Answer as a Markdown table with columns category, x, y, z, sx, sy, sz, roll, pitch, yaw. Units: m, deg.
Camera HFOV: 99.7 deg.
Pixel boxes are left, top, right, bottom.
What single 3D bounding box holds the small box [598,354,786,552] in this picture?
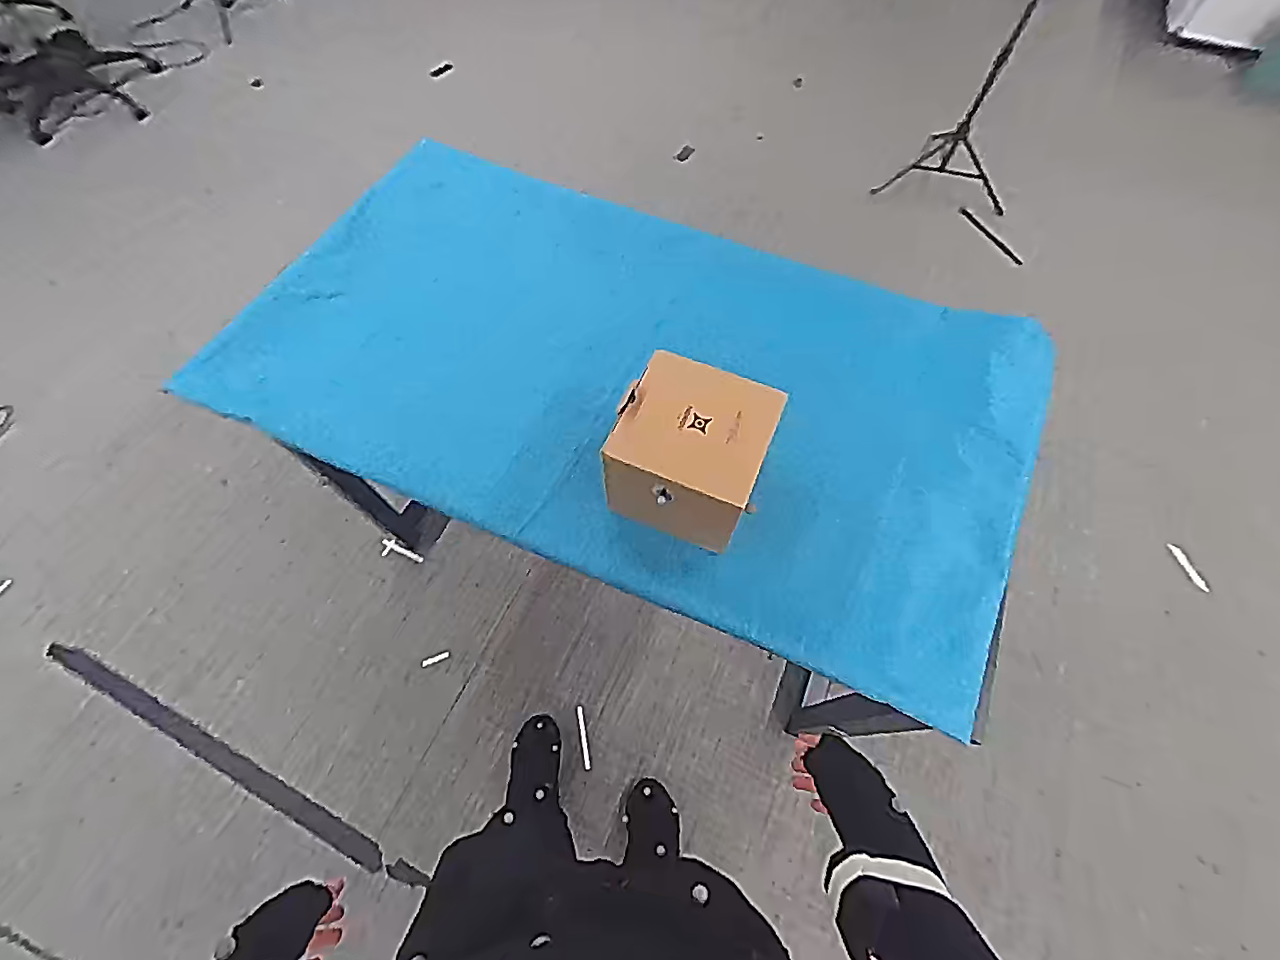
| category | x | y | z | sx | sy | sz | roll | pitch | yaw |
| --- | --- | --- | --- | --- | --- | --- | --- | --- | --- |
| small box | 0.064 | -0.027 | 0.701 | 0.179 | 0.176 | 0.168 | 22 | 66 | 11 |
